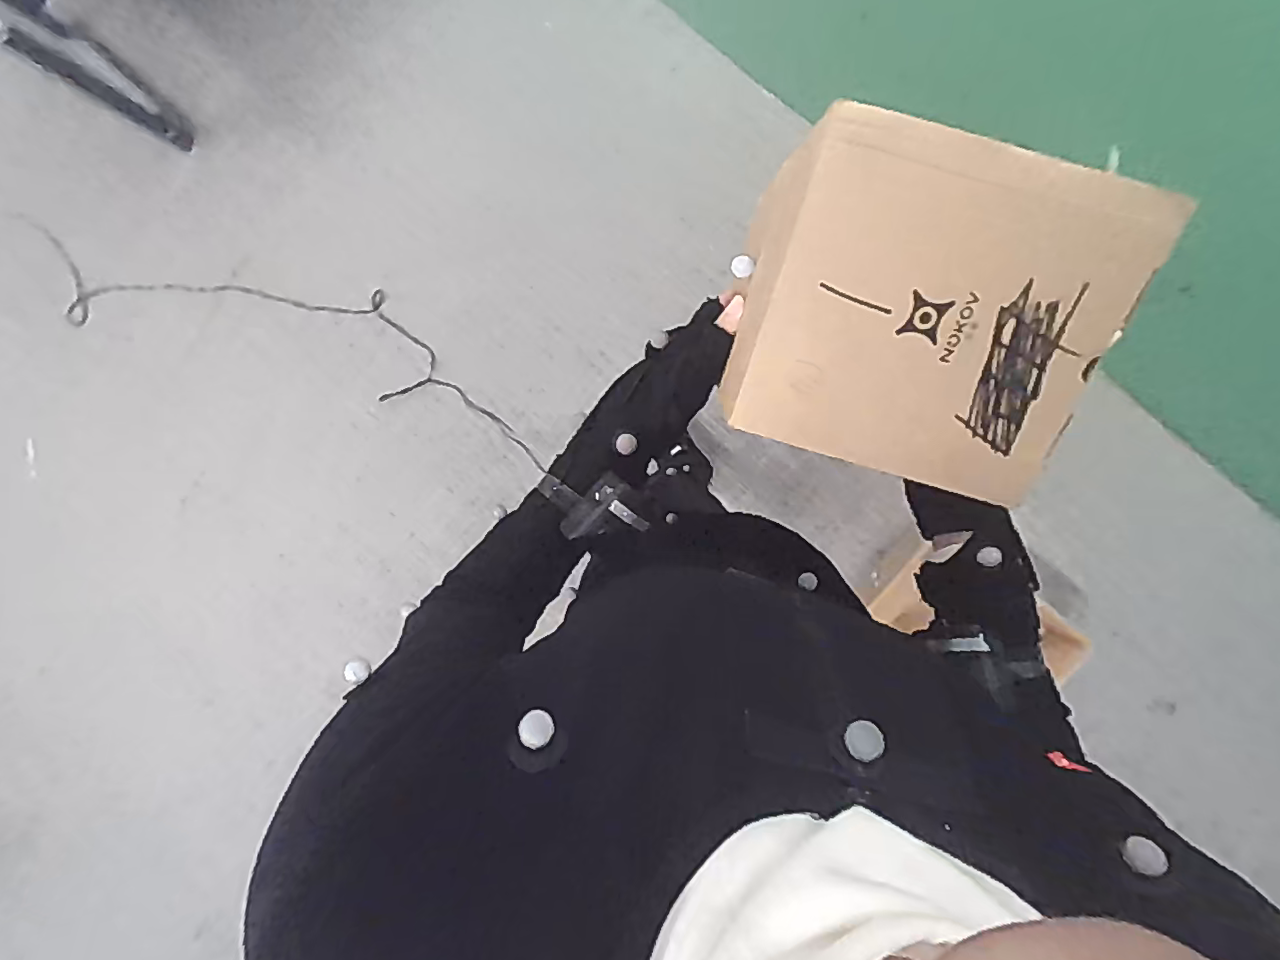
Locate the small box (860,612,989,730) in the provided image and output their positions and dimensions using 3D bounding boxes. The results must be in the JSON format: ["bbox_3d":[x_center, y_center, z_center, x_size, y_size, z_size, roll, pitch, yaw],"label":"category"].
[{"bbox_3d":[0.642,0.426,1.248,0.179,0.176,0.168,41,97,5],"label":"small box"}]
